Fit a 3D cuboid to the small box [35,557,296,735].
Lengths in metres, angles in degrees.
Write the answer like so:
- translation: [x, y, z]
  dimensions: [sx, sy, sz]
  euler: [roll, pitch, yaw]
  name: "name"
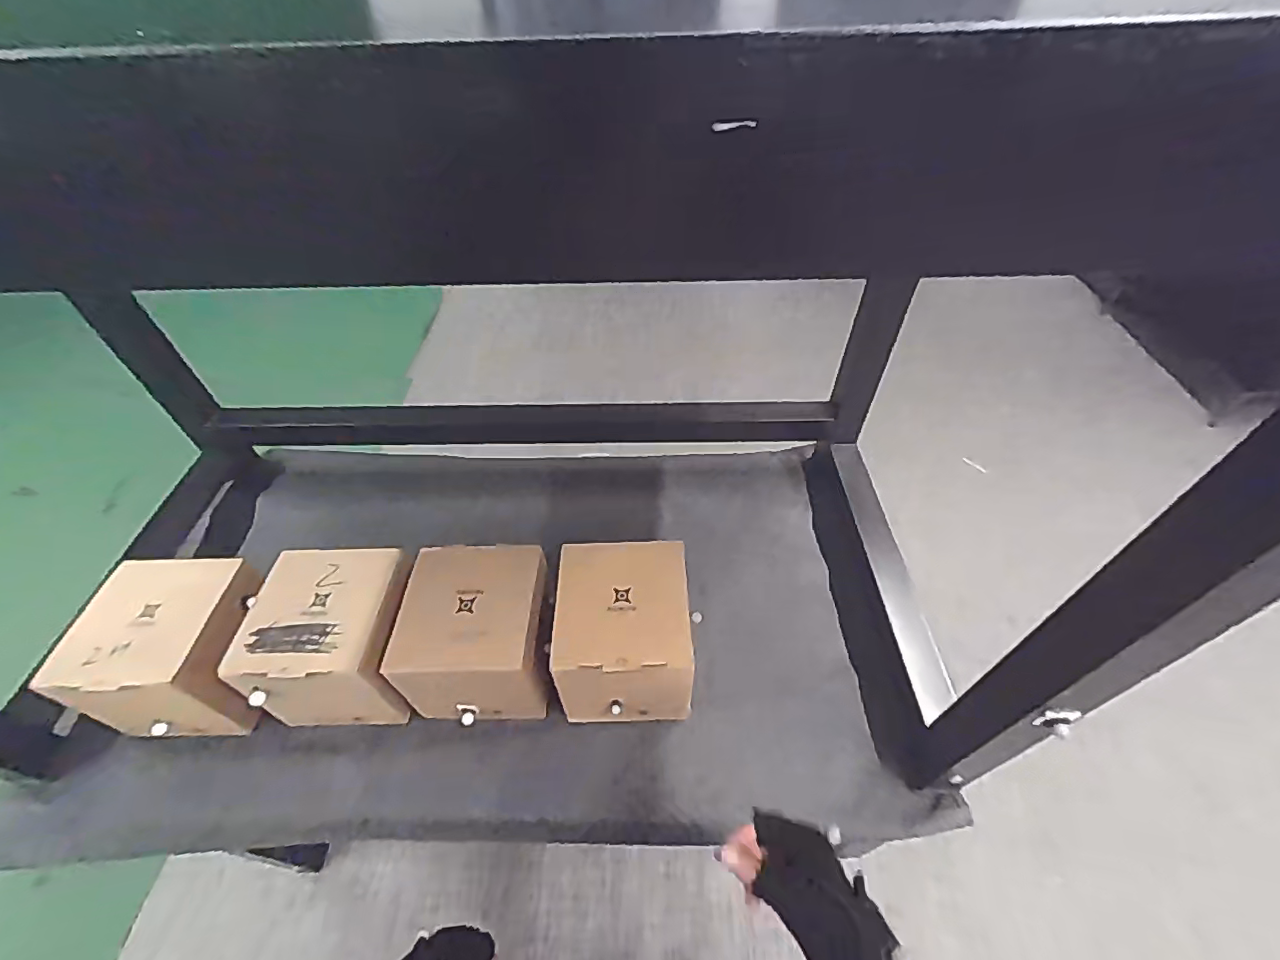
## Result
- translation: [-0.603, 0.222, 0.724]
  dimensions: [0.168, 0.176, 0.179]
  euler: [-1, 47, 1]
  name: "small box"
